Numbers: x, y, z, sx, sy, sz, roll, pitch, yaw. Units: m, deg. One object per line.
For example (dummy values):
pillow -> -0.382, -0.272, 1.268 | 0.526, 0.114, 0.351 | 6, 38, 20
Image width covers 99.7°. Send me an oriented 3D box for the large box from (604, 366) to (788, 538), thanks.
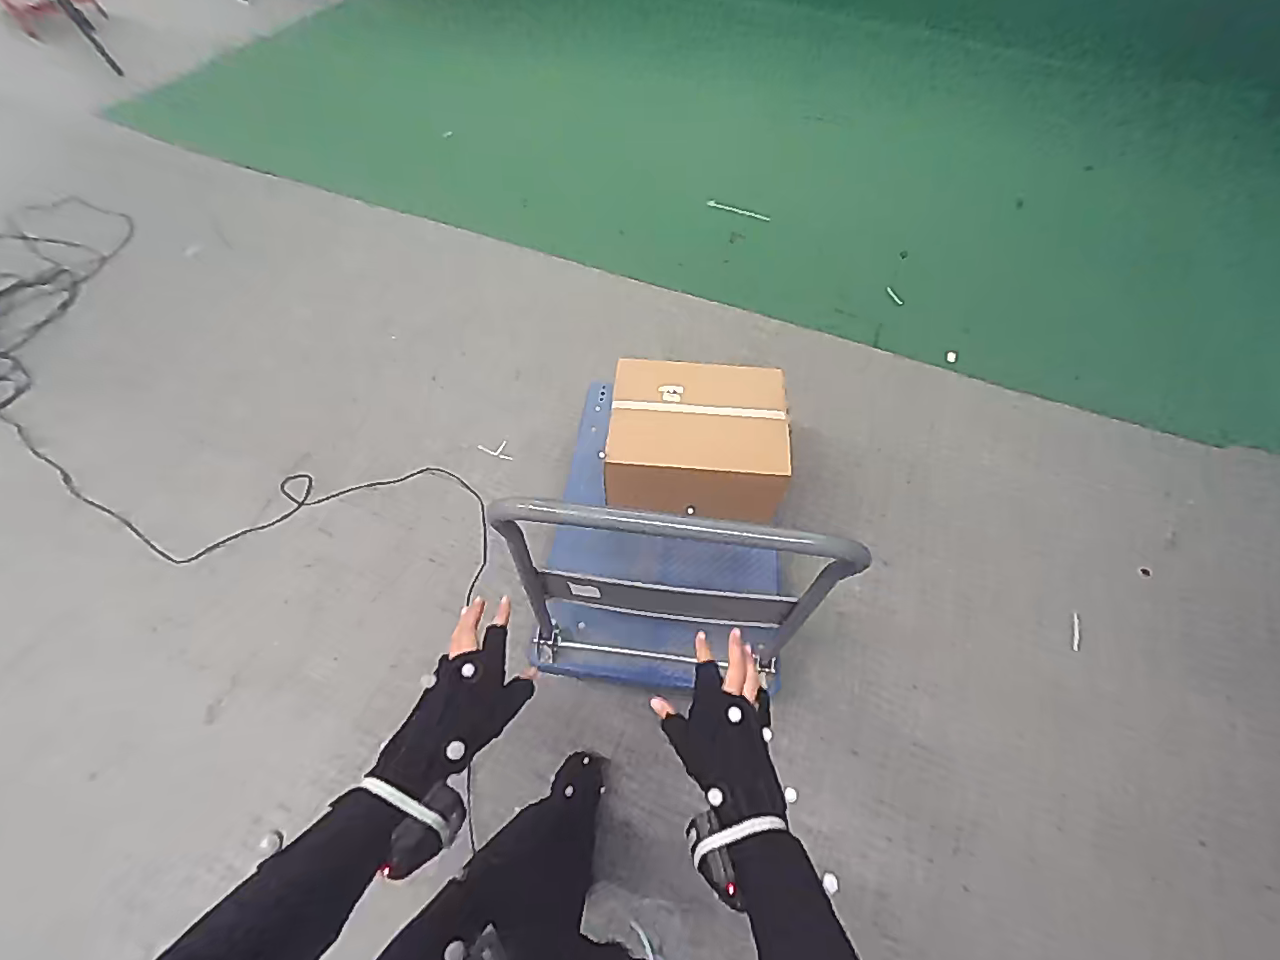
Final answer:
large box -> 0.132, -0.064, 1.366 | 0.408, 0.320, 0.320 | 4, 57, 3
